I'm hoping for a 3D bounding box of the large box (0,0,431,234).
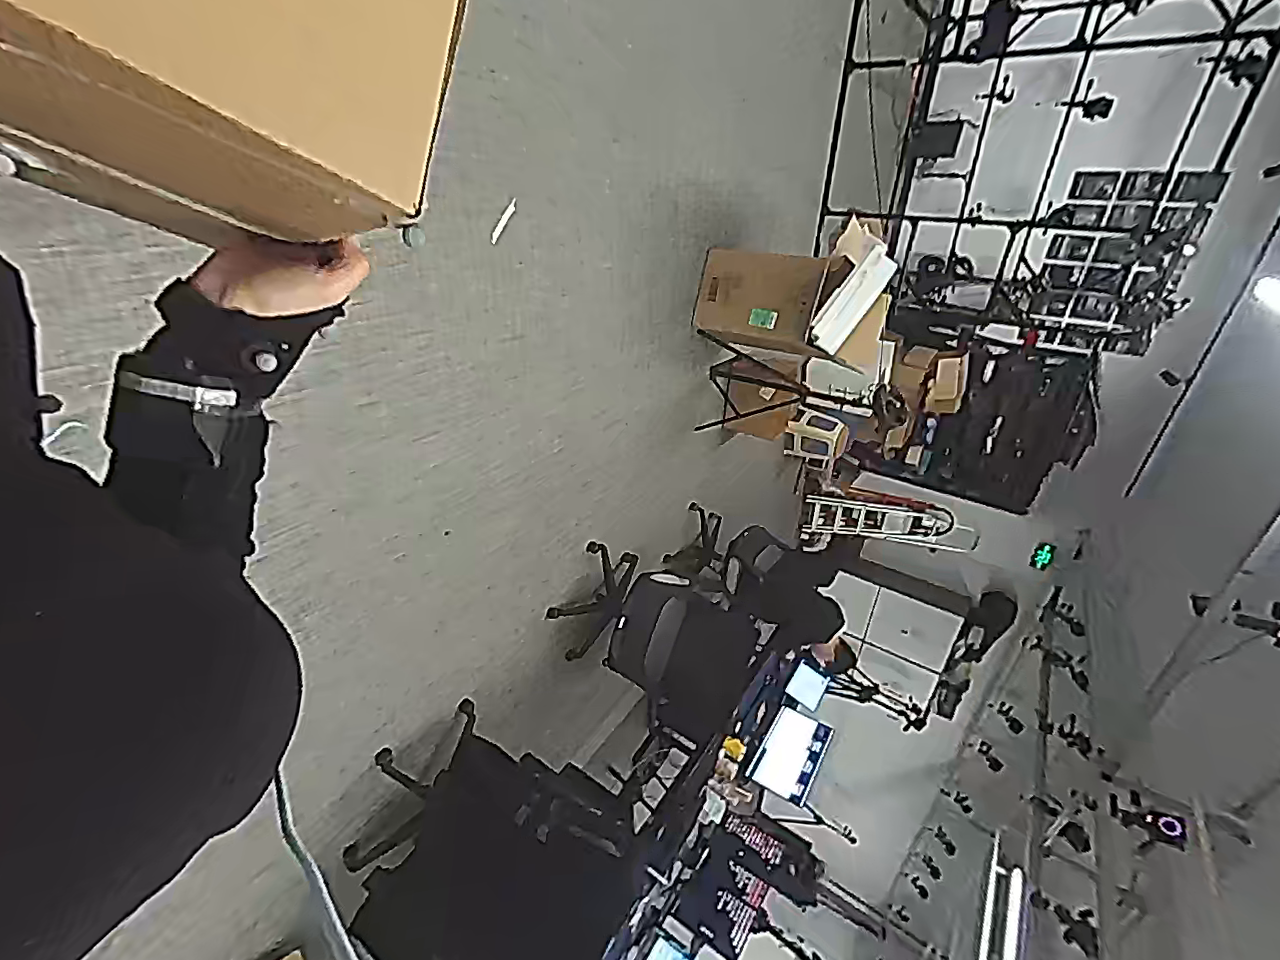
[{"bbox_3d":[-0.324,-0.337,0.193,0.408,0.320,0.320,7,98,-52],"label":"large box"}]
